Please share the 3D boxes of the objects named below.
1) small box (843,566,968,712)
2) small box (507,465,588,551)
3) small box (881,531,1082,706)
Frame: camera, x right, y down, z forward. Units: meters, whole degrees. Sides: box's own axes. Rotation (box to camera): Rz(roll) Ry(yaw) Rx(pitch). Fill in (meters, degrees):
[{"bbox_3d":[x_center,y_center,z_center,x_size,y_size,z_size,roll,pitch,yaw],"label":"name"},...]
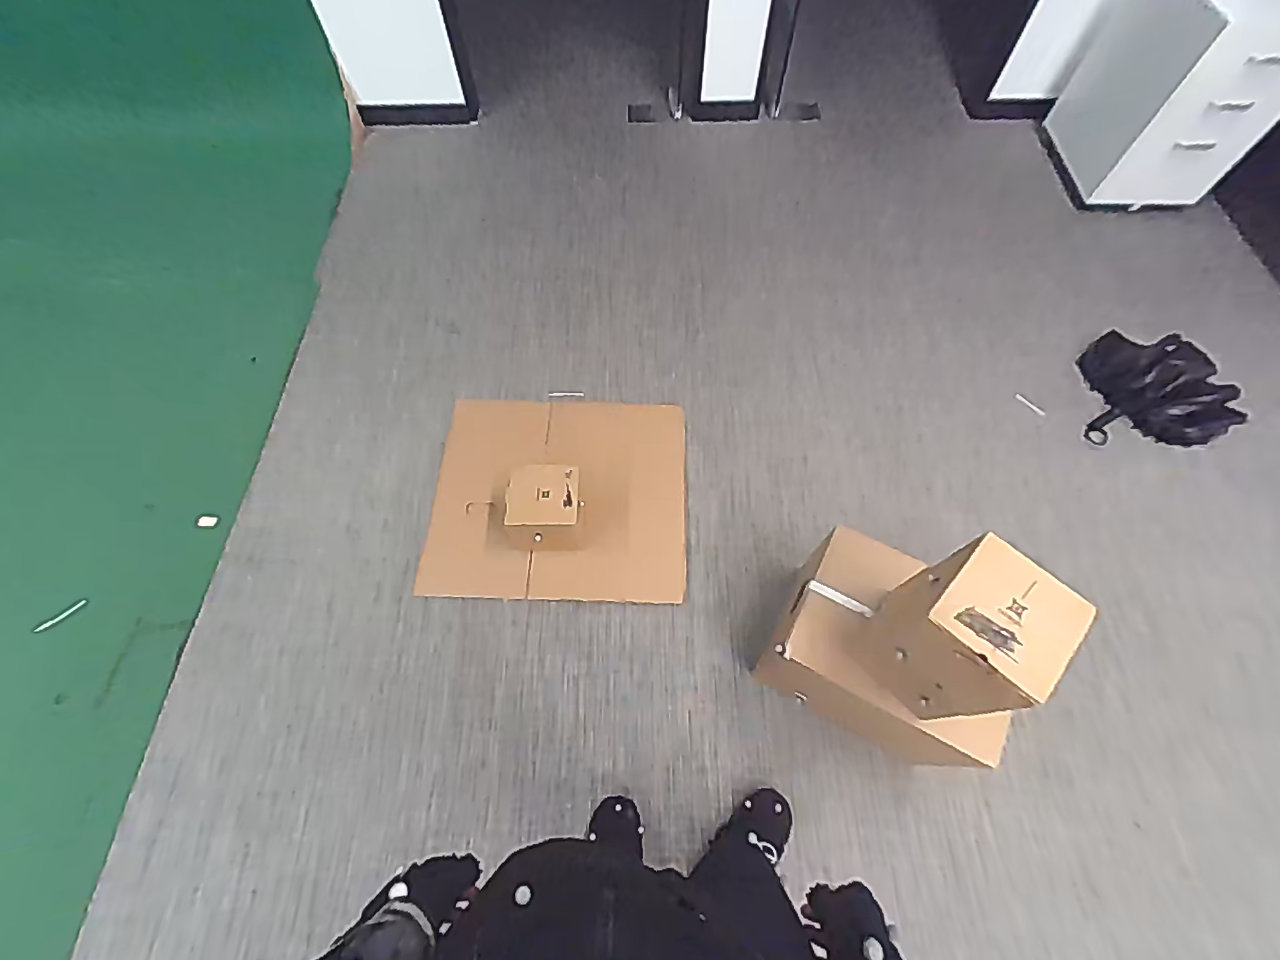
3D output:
[{"bbox_3d":[0.497,0.287,0.956,0.179,0.176,0.168,41,69,20],"label":"small box"},{"bbox_3d":[-0.233,0.077,1.400,0.179,0.176,0.168,-3,61,0],"label":"small box"},{"bbox_3d":[0.492,0.214,0.809,0.168,0.176,0.179,38,70,17],"label":"small box"}]
